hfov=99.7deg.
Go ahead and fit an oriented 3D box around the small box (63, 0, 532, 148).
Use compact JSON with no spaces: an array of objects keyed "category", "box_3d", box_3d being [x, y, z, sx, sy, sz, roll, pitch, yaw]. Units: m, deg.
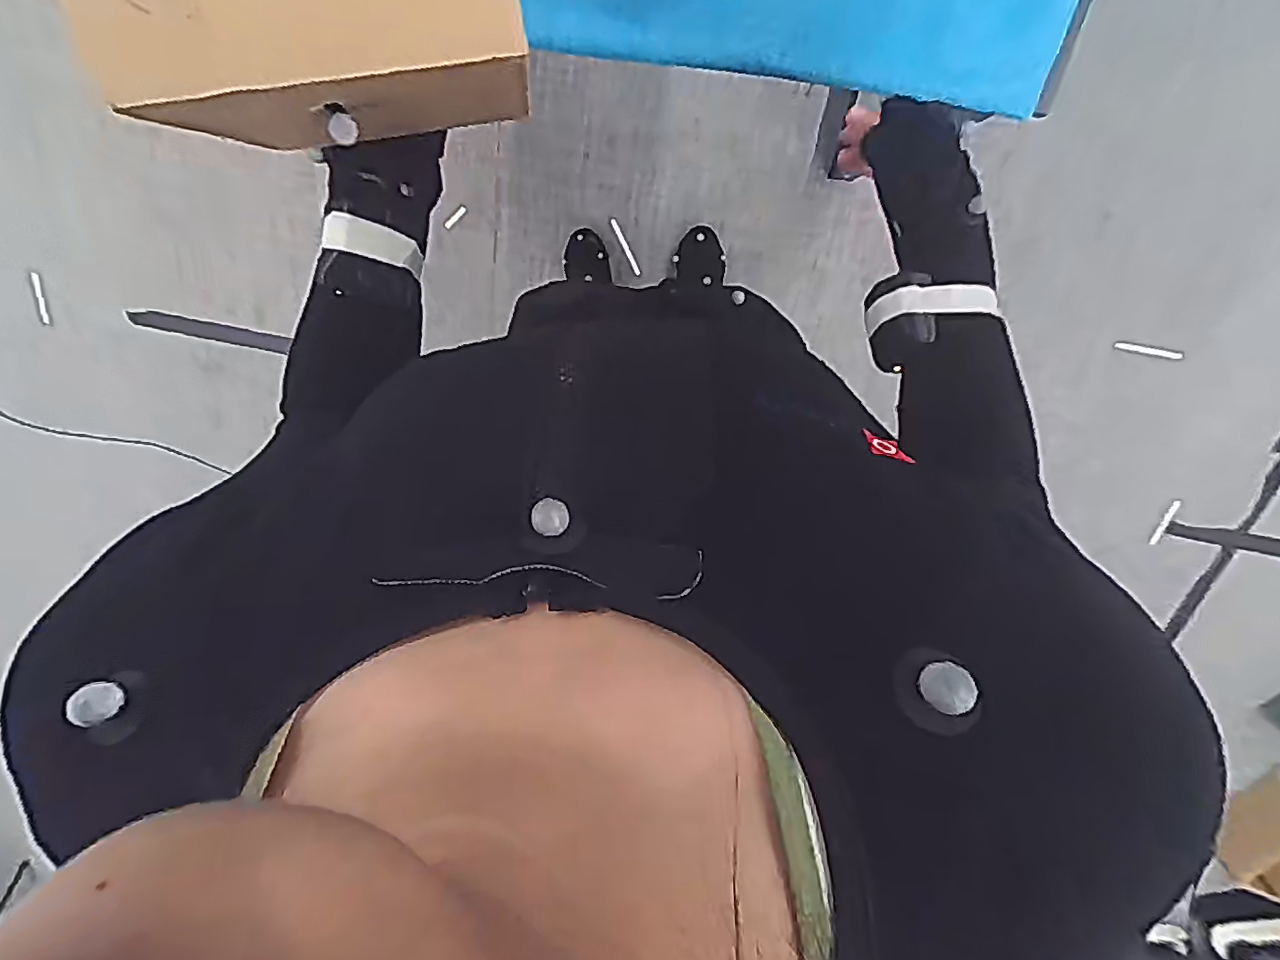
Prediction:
[{"category":"small box","box_3d":[-0.159,-0.278,0.265,0.179,0.176,0.168,-13,117,-3]}]
